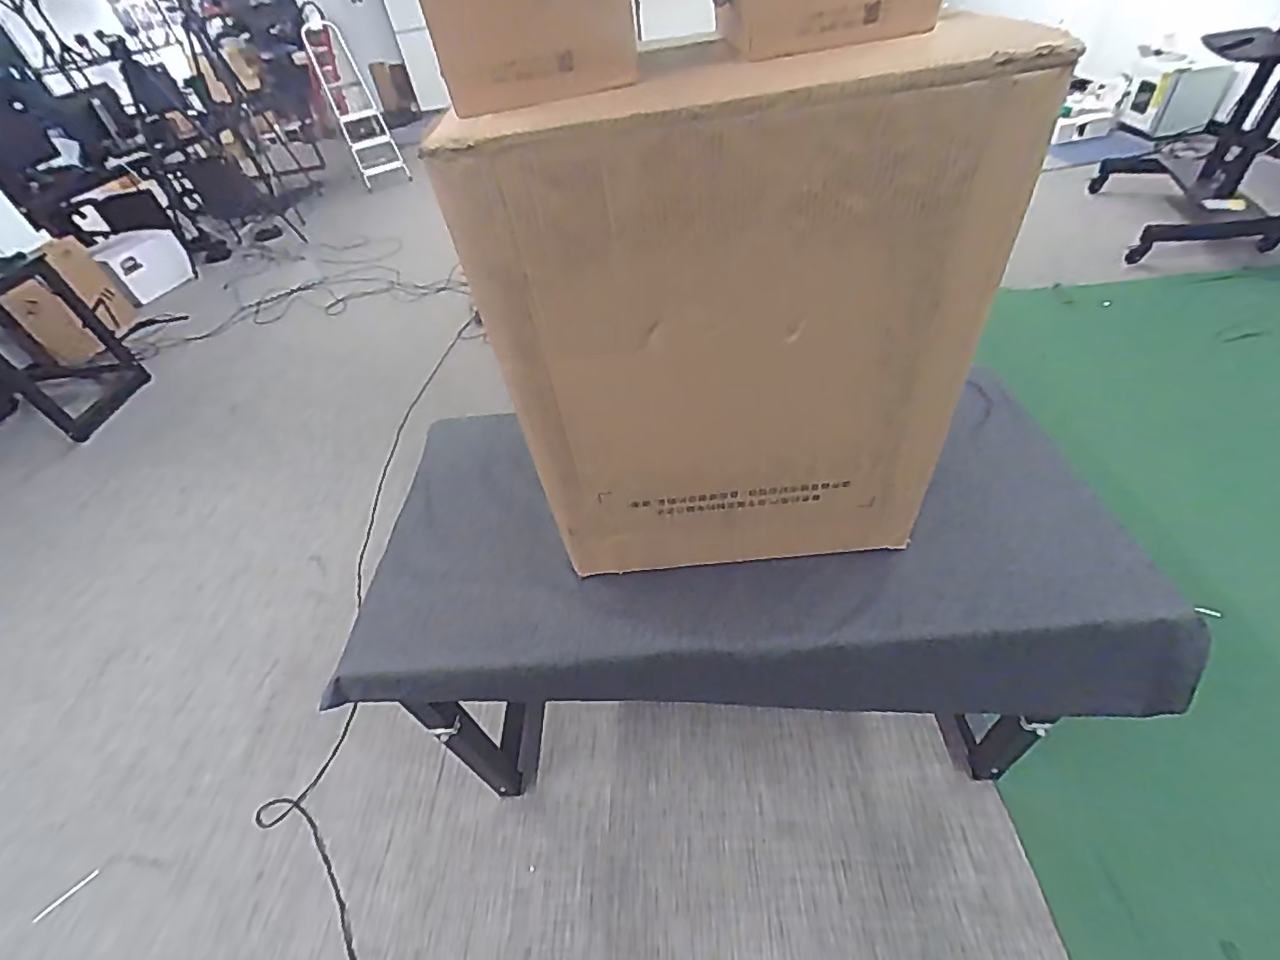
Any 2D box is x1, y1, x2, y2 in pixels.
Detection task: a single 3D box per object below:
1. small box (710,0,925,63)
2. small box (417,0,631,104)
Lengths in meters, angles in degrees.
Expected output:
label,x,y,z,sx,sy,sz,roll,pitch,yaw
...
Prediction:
label,x,y,z,sx,sy,sz,roll,pitch,yaw
small box,0.154,-0.494,0.478,0.168,0.176,0.179,-9,48,2
small box,-0.110,-0.453,0.470,0.168,0.176,0.179,-13,48,-1
